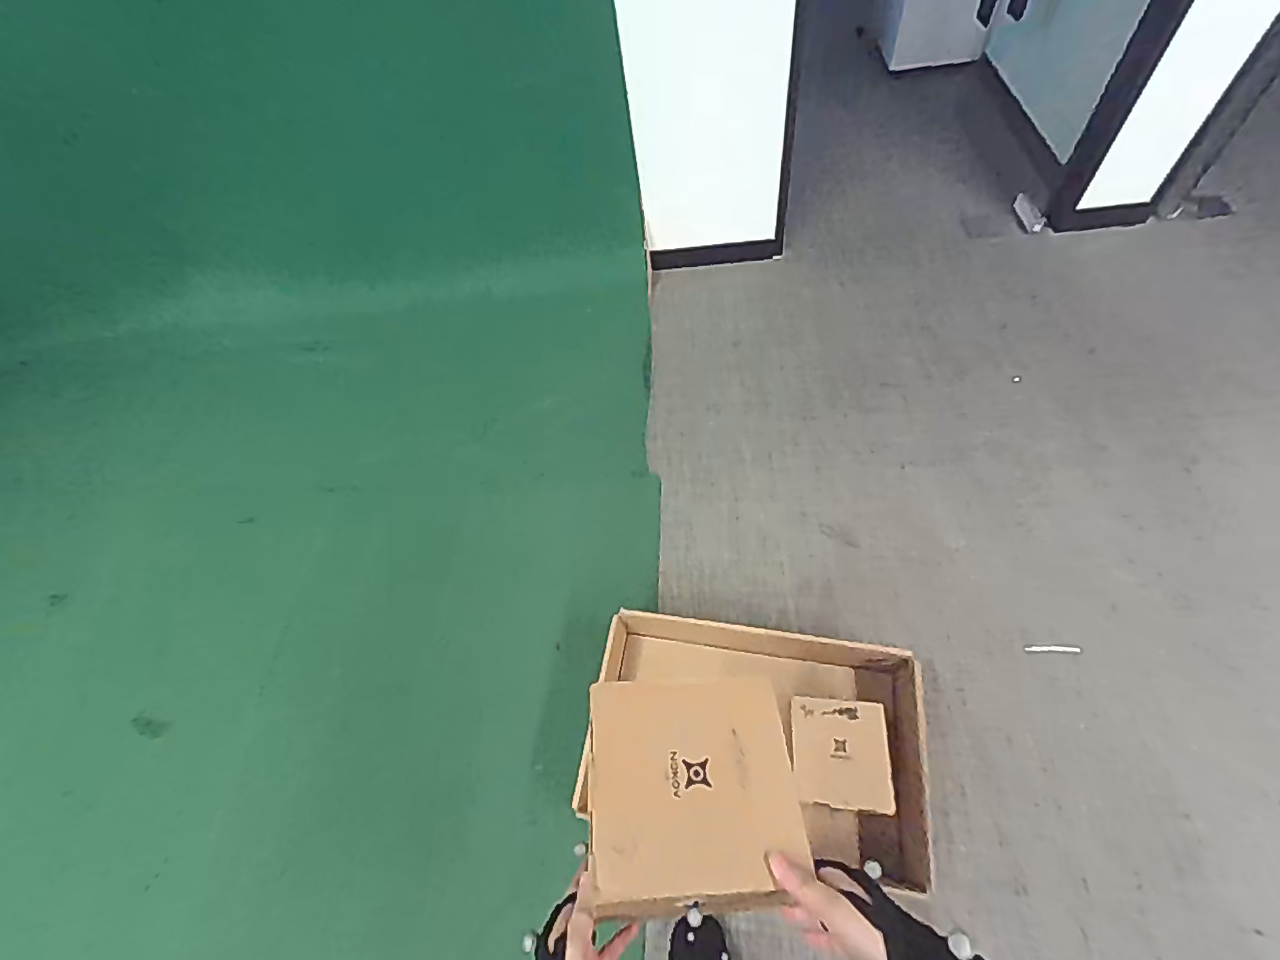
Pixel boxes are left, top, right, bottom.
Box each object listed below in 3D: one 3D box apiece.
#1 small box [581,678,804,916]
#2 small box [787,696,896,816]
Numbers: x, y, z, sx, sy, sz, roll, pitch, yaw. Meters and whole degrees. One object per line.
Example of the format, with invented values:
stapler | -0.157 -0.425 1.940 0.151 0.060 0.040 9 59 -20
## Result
small box | 0.037 0.308 0.524 0.179 0.176 0.168 0 47 -3
small box | 0.369 0.520 1.019 0.168 0.176 0.179 1 59 11
